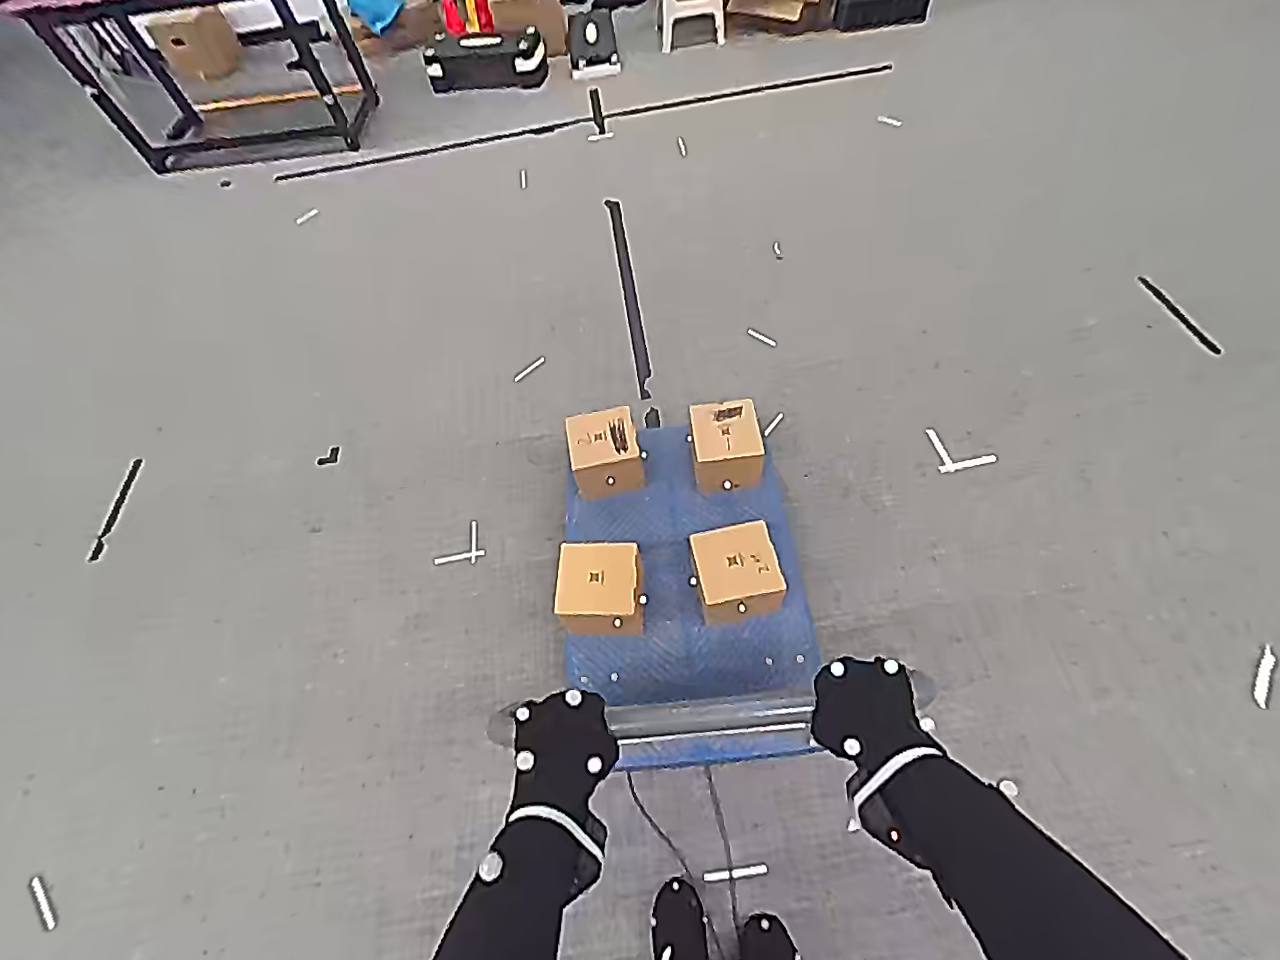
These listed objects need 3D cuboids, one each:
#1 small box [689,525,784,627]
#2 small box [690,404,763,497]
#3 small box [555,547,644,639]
[{"bbox_3d":[0.217,0.227,1.245,0.179,0.176,0.168,-11,59,0],"label":"small box"},{"bbox_3d":[0.221,-0.074,1.428,0.168,0.176,0.179,-7,59,3],"label":"small box"},{"bbox_3d":[-0.087,0.267,1.259,0.179,0.176,0.168,-1,58,4],"label":"small box"}]
